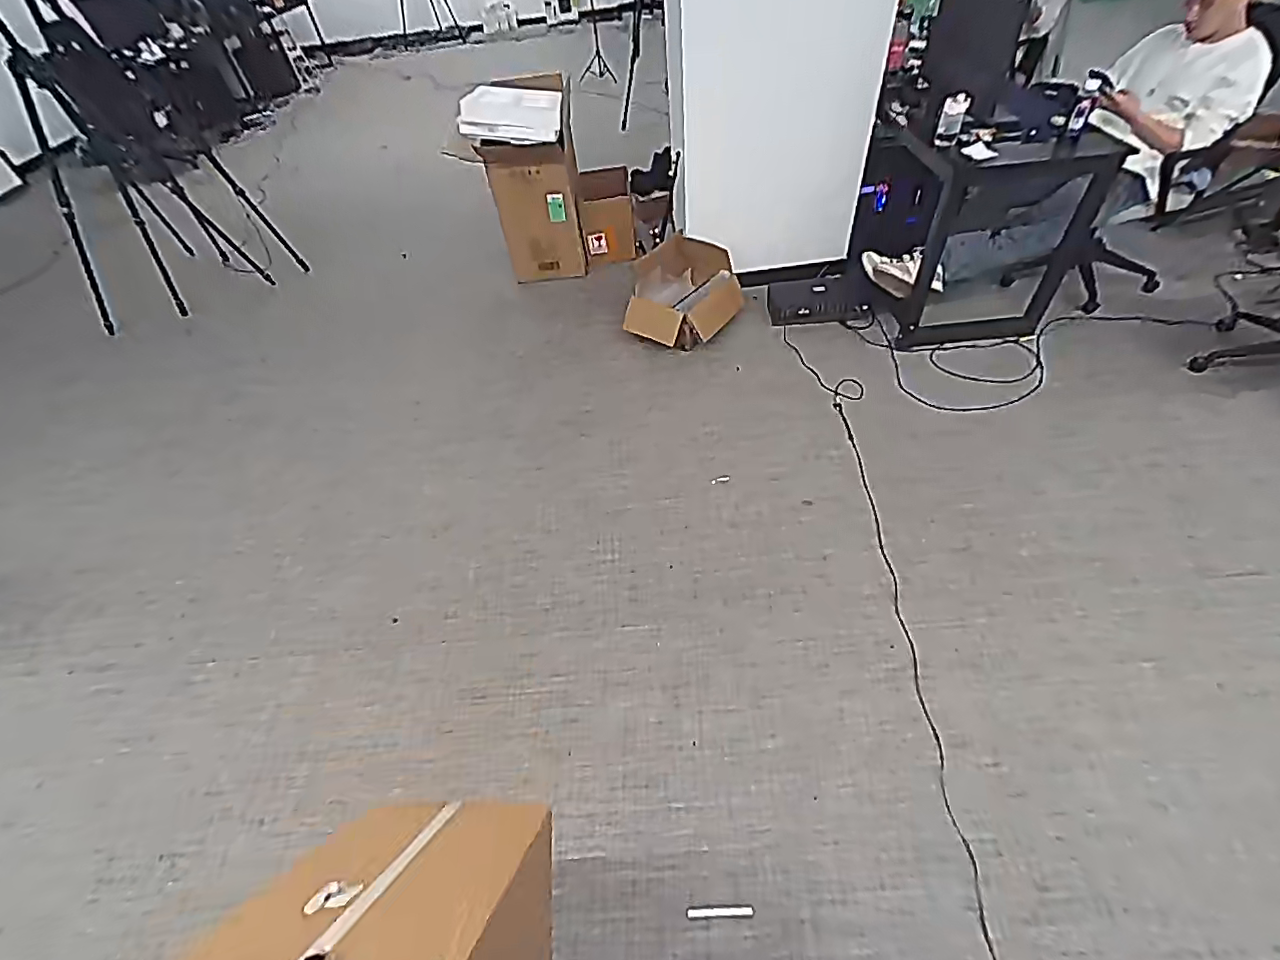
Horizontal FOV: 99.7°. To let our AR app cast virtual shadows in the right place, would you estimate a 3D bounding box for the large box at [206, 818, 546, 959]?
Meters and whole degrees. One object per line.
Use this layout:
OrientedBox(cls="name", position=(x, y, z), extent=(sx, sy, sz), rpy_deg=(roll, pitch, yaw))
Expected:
OrientedBox(cls="large box", position=(-0.313, 0.688, 0.685), extent=(0.320, 0.408, 0.320), rpy_deg=(-4, 81, 4))
